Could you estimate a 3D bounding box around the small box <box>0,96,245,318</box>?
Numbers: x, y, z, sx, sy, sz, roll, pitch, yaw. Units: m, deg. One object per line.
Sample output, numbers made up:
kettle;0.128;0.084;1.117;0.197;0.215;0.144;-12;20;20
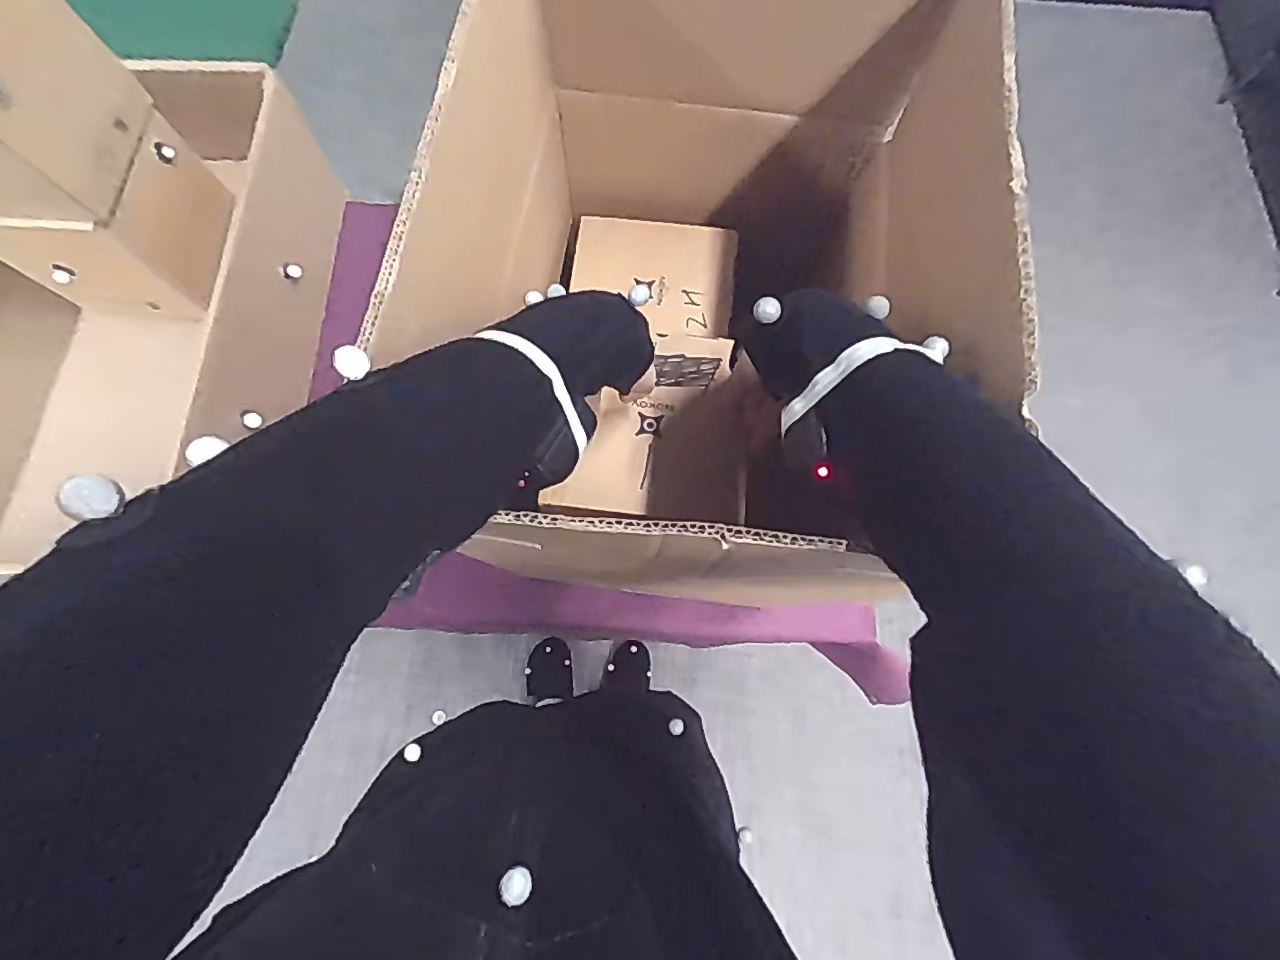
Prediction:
small box;-0.624;-0.316;0.651;0.168;0.176;0.179;3;74;1
